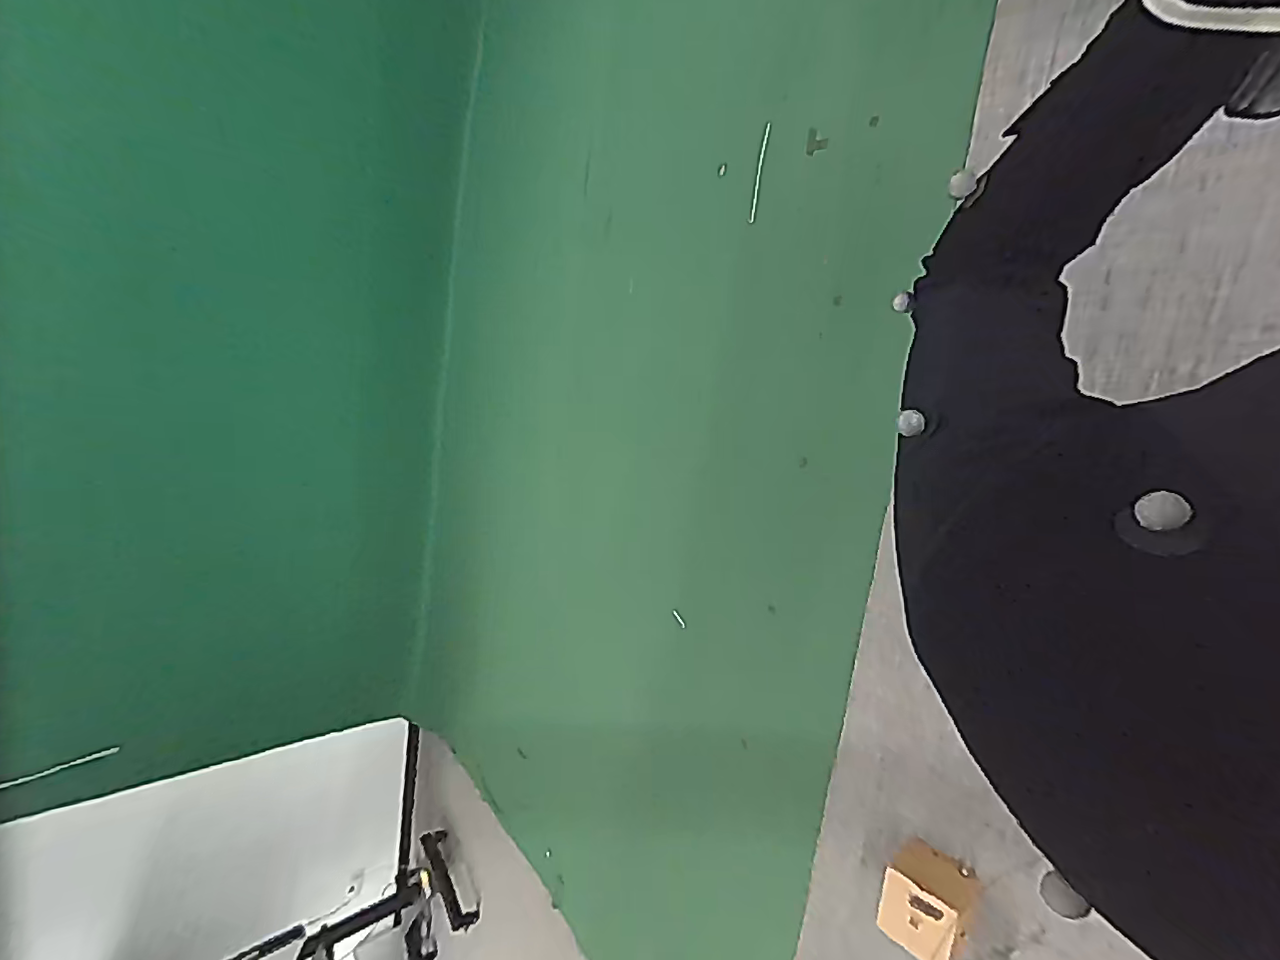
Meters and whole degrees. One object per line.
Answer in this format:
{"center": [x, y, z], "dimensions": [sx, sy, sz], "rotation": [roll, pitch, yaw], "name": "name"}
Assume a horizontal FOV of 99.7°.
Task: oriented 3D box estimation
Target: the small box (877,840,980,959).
{"center": [0.716, 1.046, 1.338], "dimensions": [0.168, 0.176, 0.179], "rotation": [15, 101, 47], "name": "small box"}
